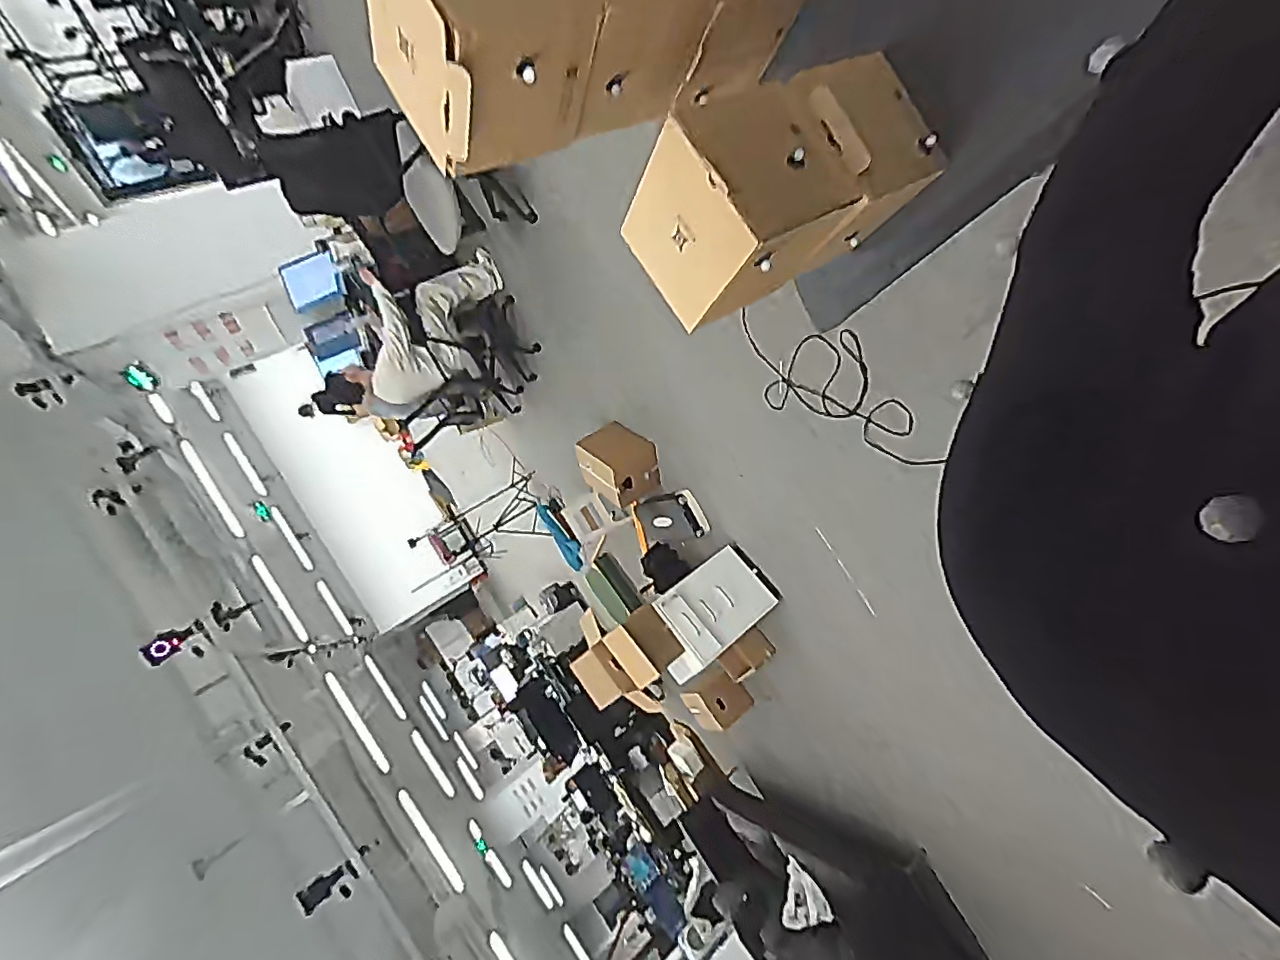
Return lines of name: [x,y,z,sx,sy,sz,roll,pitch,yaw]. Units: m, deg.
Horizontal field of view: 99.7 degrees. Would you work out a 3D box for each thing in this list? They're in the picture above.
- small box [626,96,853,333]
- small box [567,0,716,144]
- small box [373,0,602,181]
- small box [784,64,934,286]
small box: [0.114,-0.314,0.652,0.168,0.176,0.179,56,155,4]
small box: [-0.039,-0.553,0.647,0.168,0.176,0.179,57,155,0]
small box: [-0.165,-0.472,0.586,0.179,0.176,0.168,56,154,5]
small box: [0.245,-0.393,0.706,0.168,0.176,0.179,58,156,0]
